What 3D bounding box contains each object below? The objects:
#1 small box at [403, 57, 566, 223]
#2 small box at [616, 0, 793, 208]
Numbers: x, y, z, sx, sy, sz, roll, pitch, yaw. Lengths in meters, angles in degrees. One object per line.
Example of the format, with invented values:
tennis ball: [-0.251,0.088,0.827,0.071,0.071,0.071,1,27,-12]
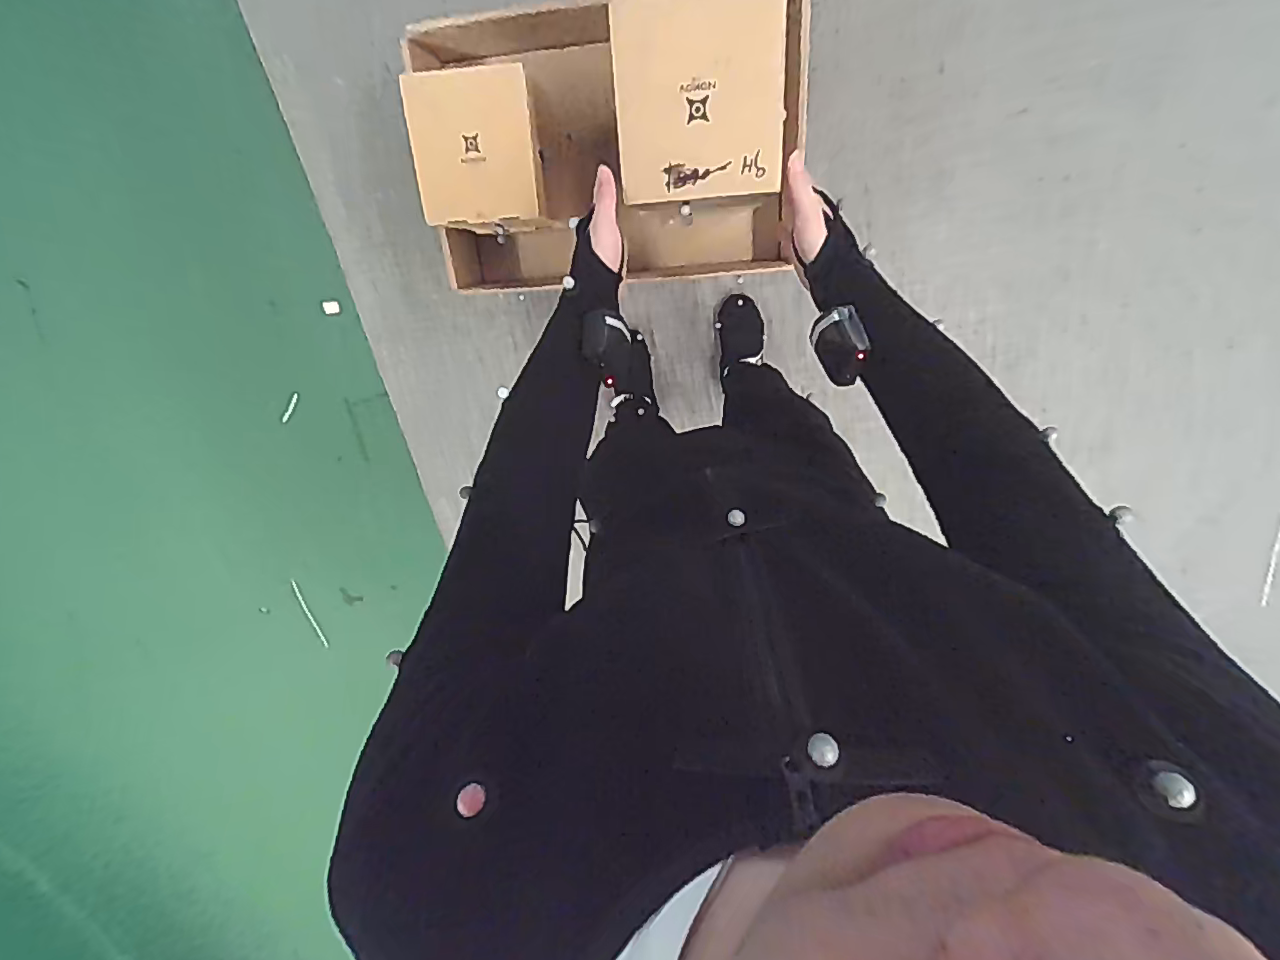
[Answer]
small box: [-0.209,-0.473,0.779,0.168,0.176,0.179,0,114,6]
small box: [0.069,-0.408,0.598,0.168,0.176,0.179,0,114,7]
